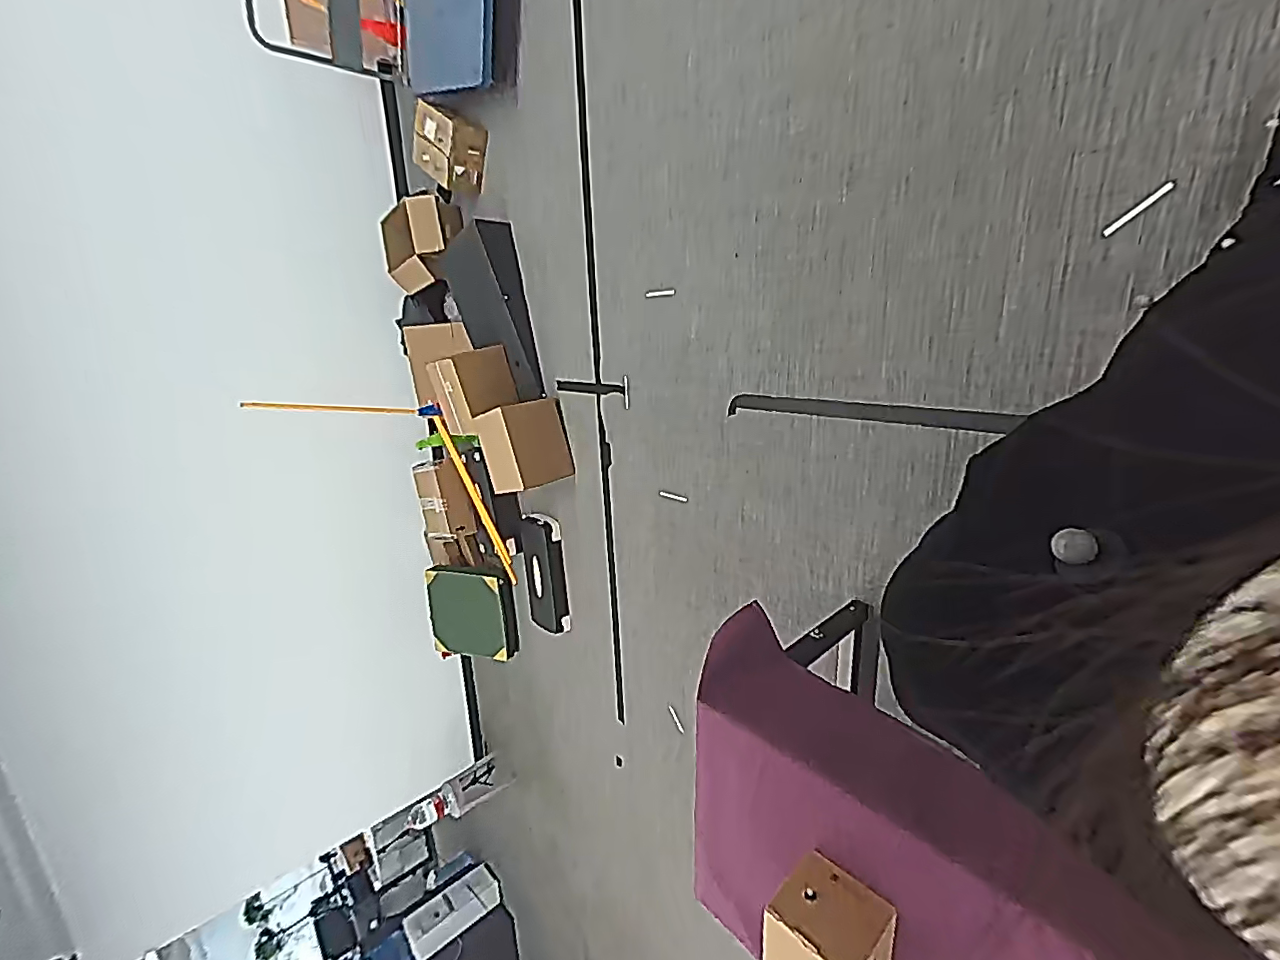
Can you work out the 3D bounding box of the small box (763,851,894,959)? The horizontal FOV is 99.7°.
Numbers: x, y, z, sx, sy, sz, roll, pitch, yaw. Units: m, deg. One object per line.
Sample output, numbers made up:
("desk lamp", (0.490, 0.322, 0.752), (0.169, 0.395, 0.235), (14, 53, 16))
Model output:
("small box", (0.340, 0.830, 0.975), (0.168, 0.176, 0.179), (14, 113, 47))
